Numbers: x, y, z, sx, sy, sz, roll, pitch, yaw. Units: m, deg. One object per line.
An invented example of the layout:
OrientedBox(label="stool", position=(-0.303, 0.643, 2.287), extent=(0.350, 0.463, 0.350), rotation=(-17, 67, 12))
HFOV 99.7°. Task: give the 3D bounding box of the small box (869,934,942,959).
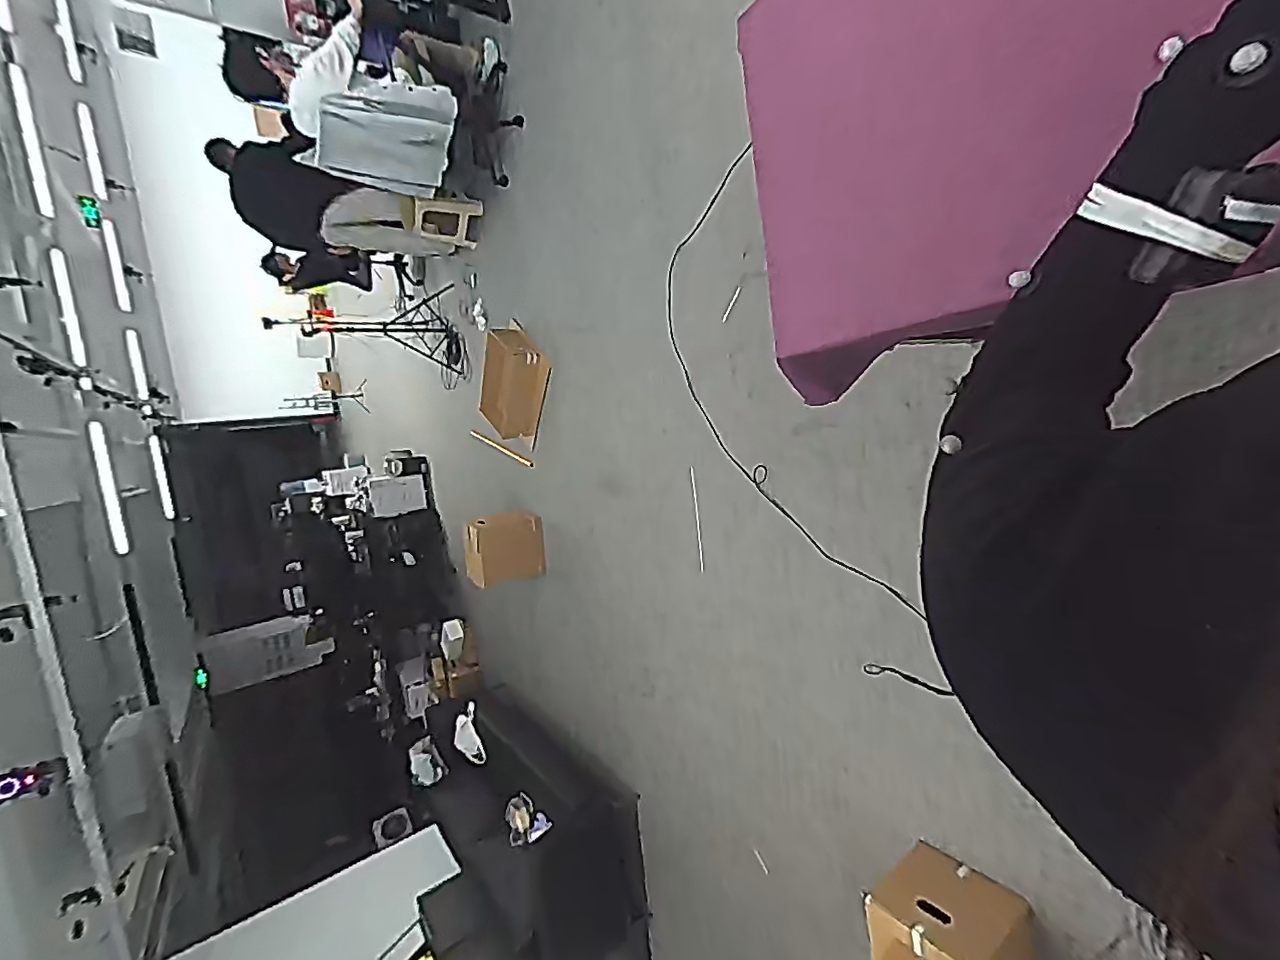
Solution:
OrientedBox(label="small box", position=(0.716, 1.349, 1.411), extent=(0.179, 0.176, 0.168), rotation=(-1, 98, 53))
